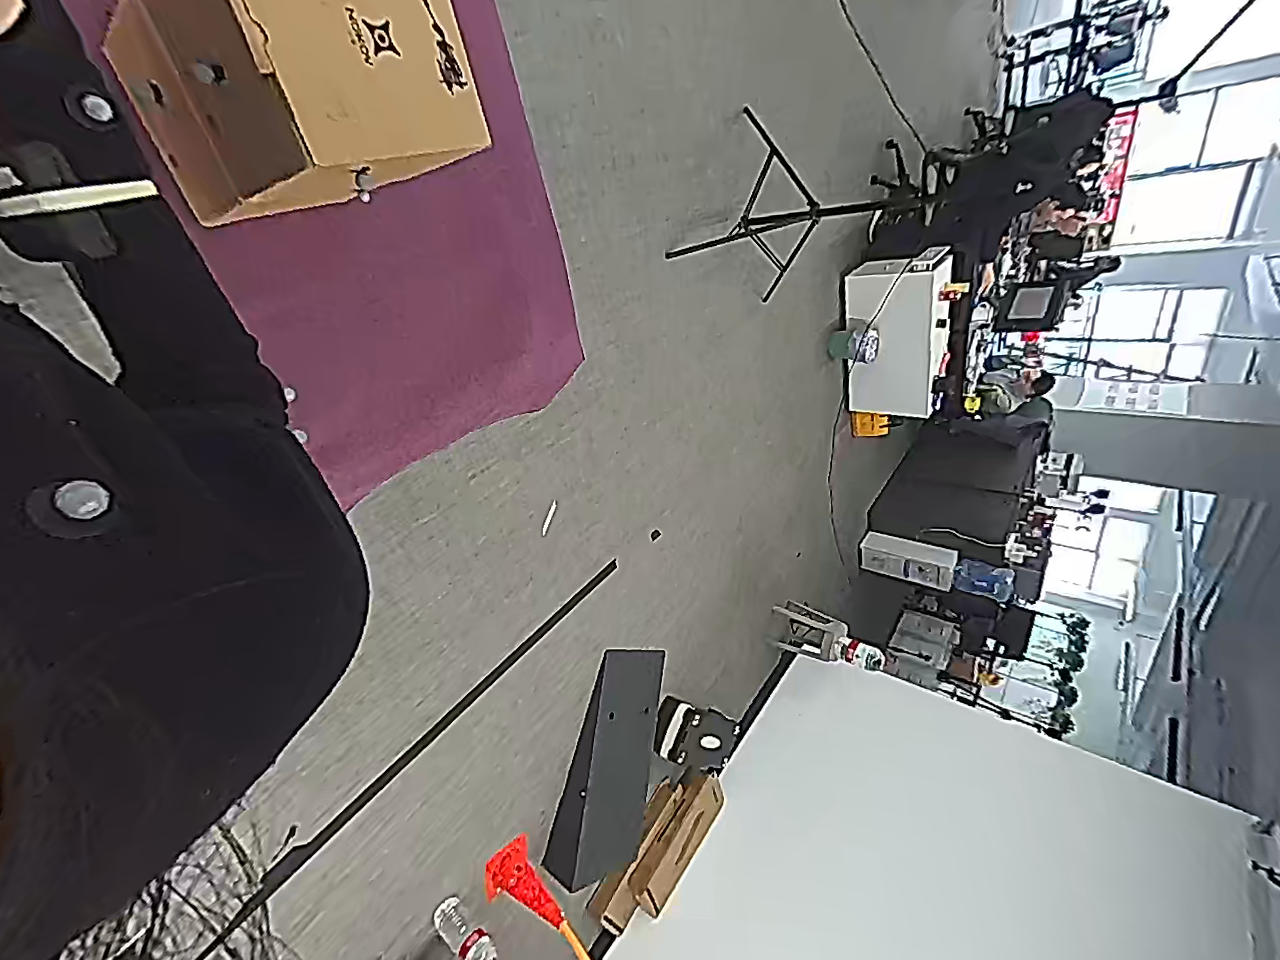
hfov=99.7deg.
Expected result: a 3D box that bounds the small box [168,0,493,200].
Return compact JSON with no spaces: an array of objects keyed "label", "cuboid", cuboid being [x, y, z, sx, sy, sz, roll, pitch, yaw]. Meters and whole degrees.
[{"label":"small box","cuboid":[-0.269,-0.359,0.475,0.179,0.176,0.168,-38,127,-38]}]

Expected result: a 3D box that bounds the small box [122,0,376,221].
[{"label":"small box","cuboid":[-0.397,-0.386,0.574,0.179,0.176,0.168,-39,128,-38]}]
